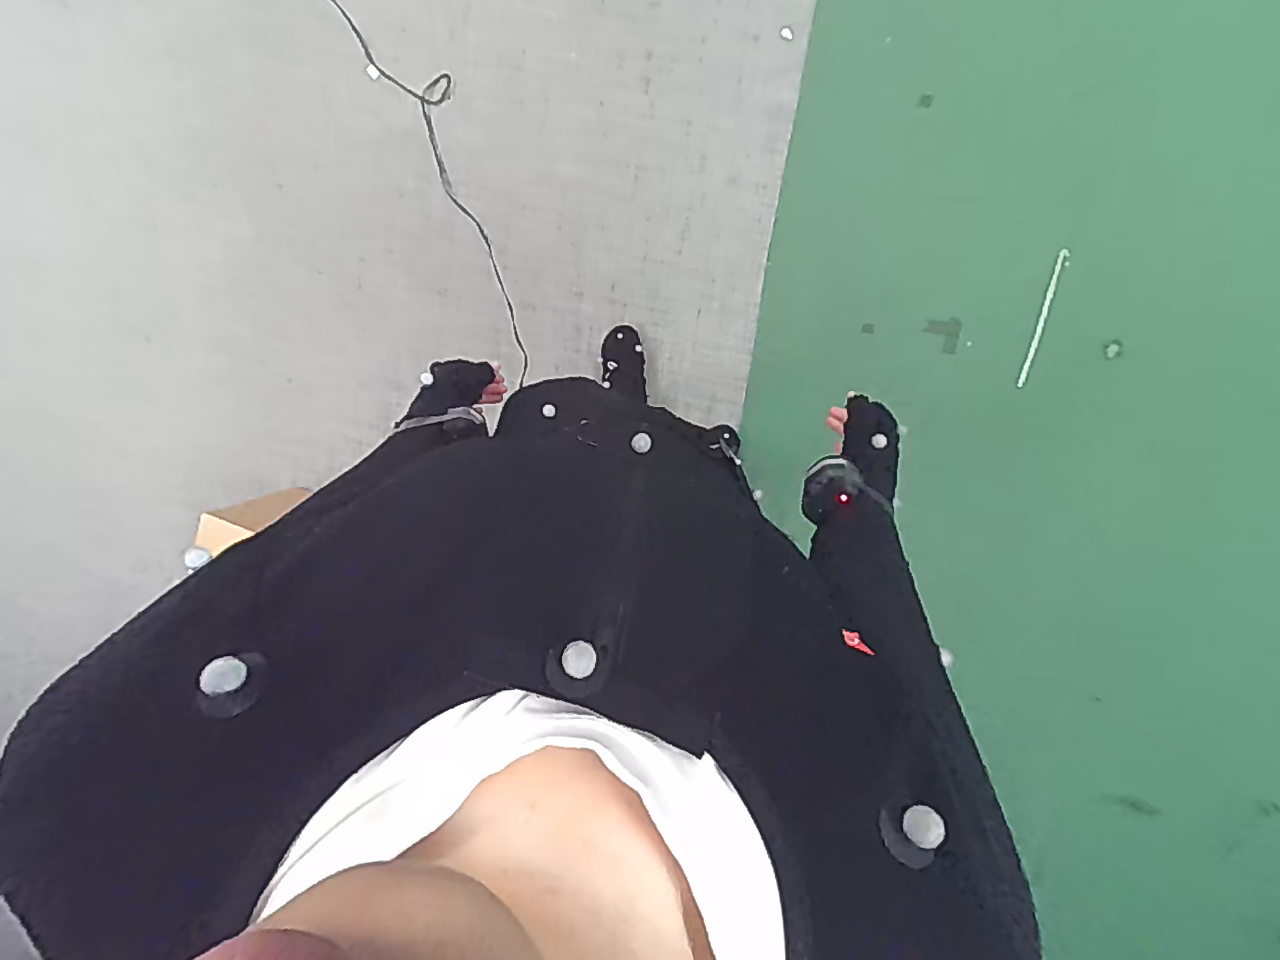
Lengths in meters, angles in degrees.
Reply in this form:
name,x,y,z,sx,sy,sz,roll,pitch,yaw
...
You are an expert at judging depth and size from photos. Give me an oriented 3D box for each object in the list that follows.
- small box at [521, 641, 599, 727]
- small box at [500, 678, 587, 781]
name,x,y,z,sx,sy,sz,roll,pitch,yaw
small box,-0.213,0.557,1.487,0.168,0.176,0.179,-7,104,6
small box,-0.230,0.608,1.334,0.168,0.176,0.179,-3,105,7
